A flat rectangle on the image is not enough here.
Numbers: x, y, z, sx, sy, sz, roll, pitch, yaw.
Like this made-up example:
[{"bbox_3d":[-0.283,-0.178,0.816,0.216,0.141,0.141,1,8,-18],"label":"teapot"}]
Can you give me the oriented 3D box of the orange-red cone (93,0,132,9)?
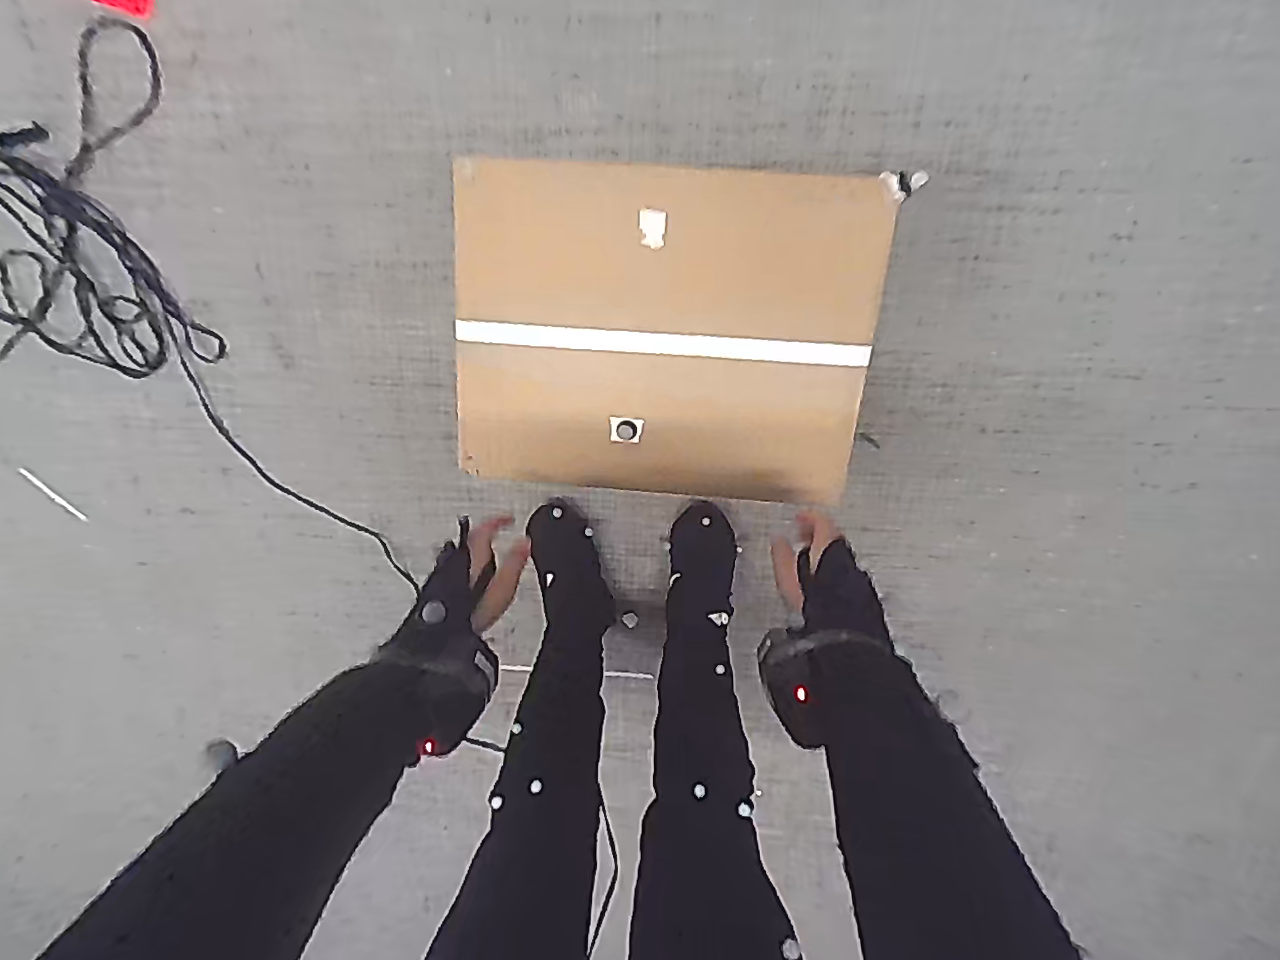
[{"bbox_3d":[-0.759,-0.704,0.540,0.199,0.360,0.198,22,107,-1],"label":"orange-red cone"}]
